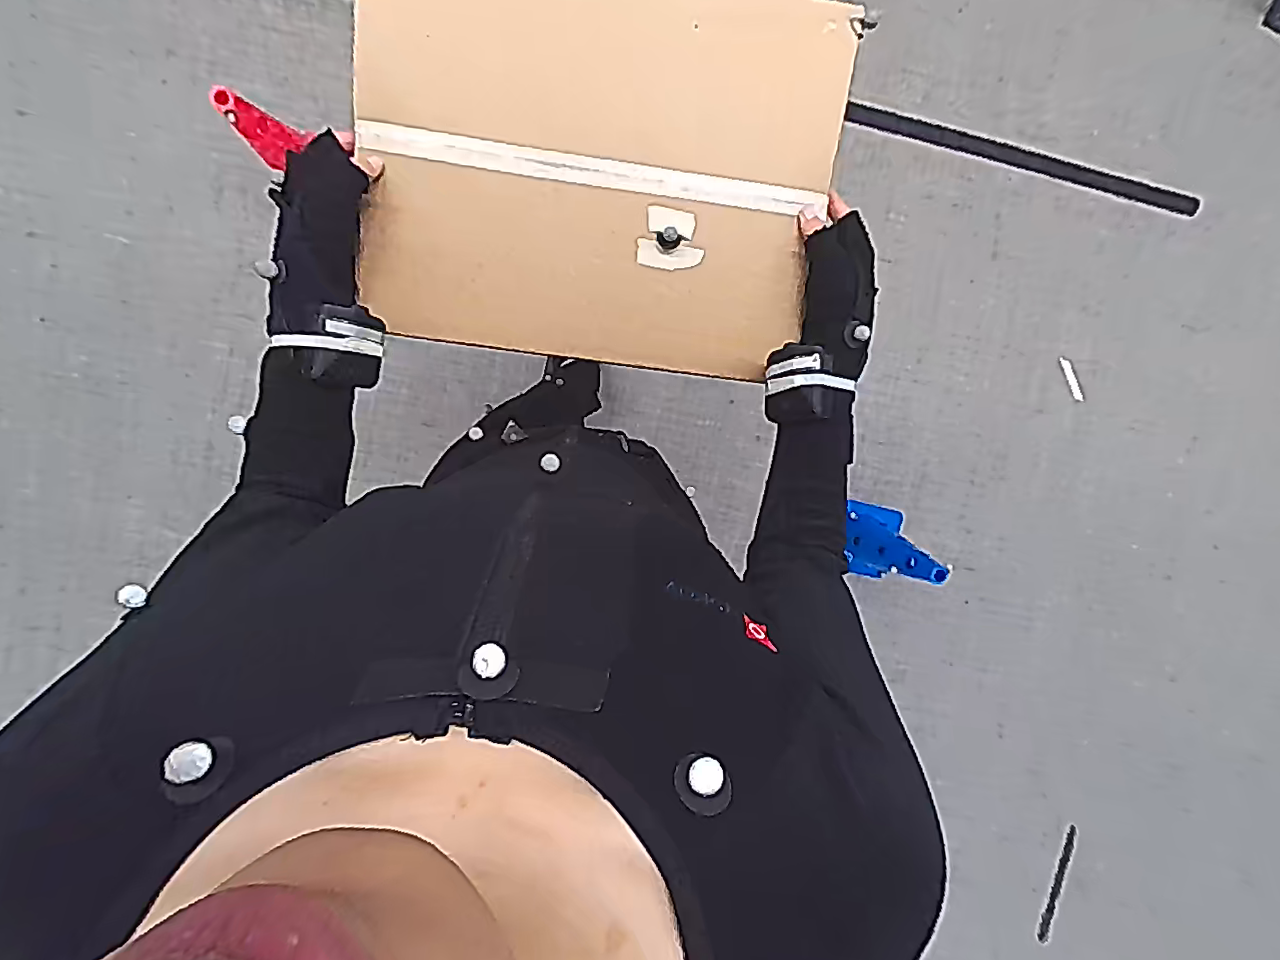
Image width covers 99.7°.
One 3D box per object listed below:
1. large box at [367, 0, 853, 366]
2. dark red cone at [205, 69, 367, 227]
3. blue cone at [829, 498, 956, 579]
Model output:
[{"bbox_3d":[-0.044,-0.309,0.616,0.408,0.320,0.320,6,103,-6],"label":"large box"},{"bbox_3d":[-0.754,-0.711,1.127,0.201,0.394,0.202,18,95,-6],"label":"dark red cone"},{"bbox_3d":[0.644,0.174,1.354,0.192,0.380,0.193,15,96,-6],"label":"blue cone"}]
